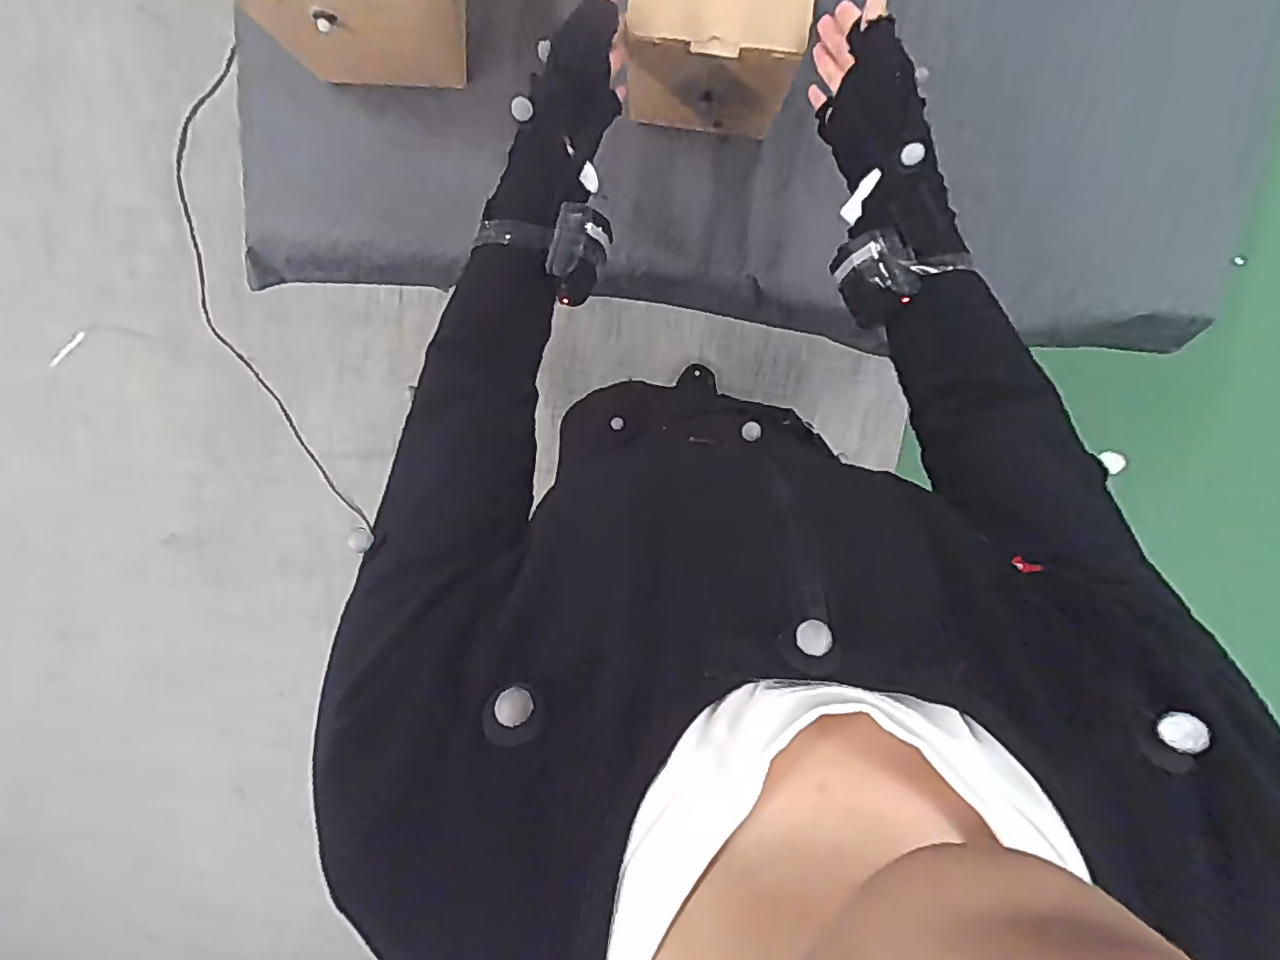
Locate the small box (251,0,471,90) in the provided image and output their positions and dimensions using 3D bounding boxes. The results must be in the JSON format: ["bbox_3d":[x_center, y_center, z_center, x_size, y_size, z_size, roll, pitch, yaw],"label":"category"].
[{"bbox_3d":[-0.286,-0.535,0.555,0.179,0.176,0.168,3,101,0],"label":"small box"}]

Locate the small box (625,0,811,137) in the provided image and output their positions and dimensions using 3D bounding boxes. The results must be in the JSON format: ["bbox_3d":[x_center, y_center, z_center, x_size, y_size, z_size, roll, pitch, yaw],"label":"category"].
[{"bbox_3d":[0.081,-0.486,0.556,0.168,0.176,0.179,8,101,0],"label":"small box"}]
